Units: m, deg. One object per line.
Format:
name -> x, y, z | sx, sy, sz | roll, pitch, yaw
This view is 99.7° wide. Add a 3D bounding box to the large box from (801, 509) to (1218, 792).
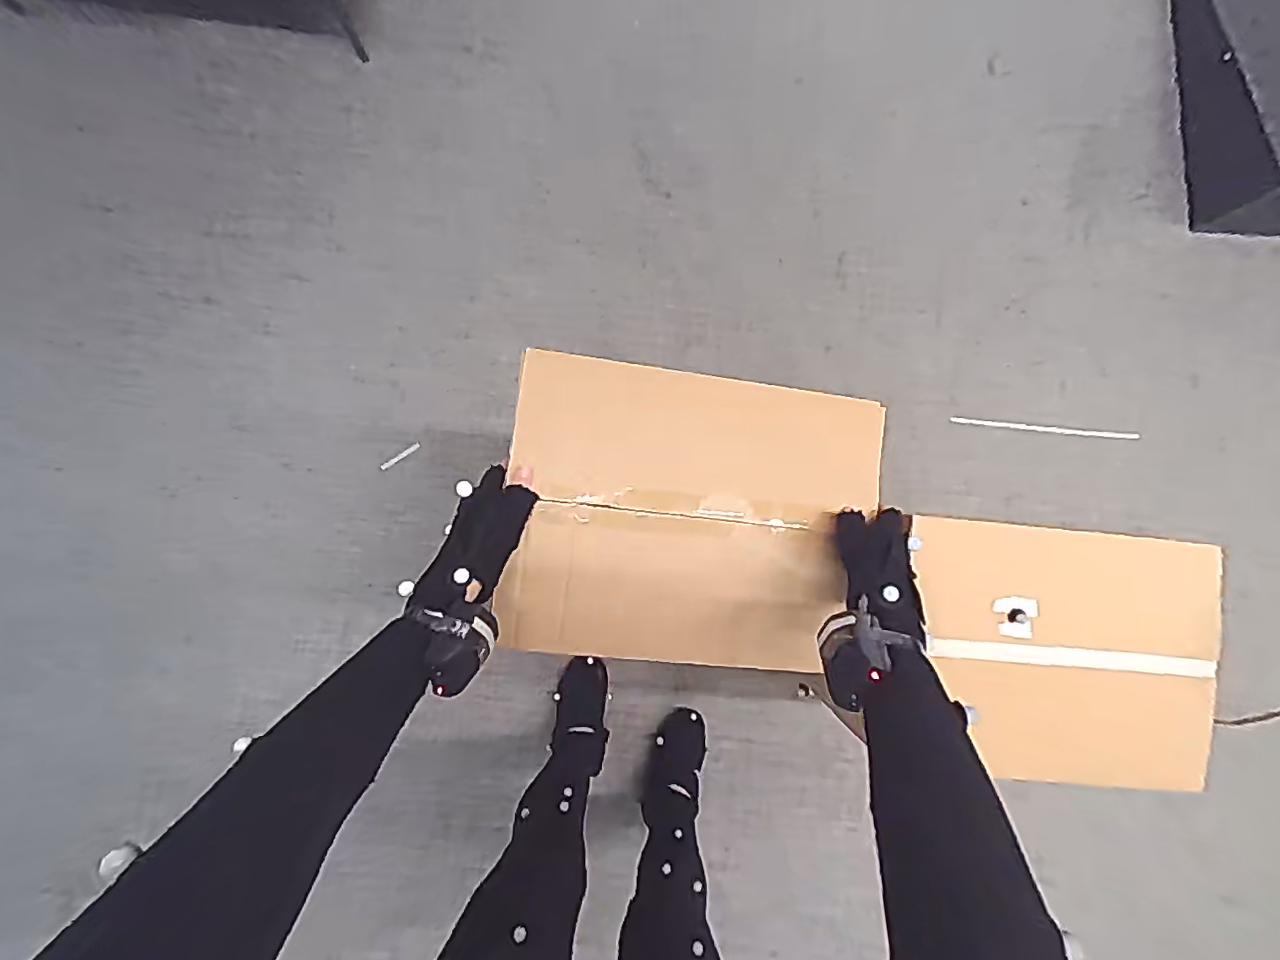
large box -> 0.496, 0.216, 0.804 | 0.408, 0.320, 0.320 | 5, 88, -2
